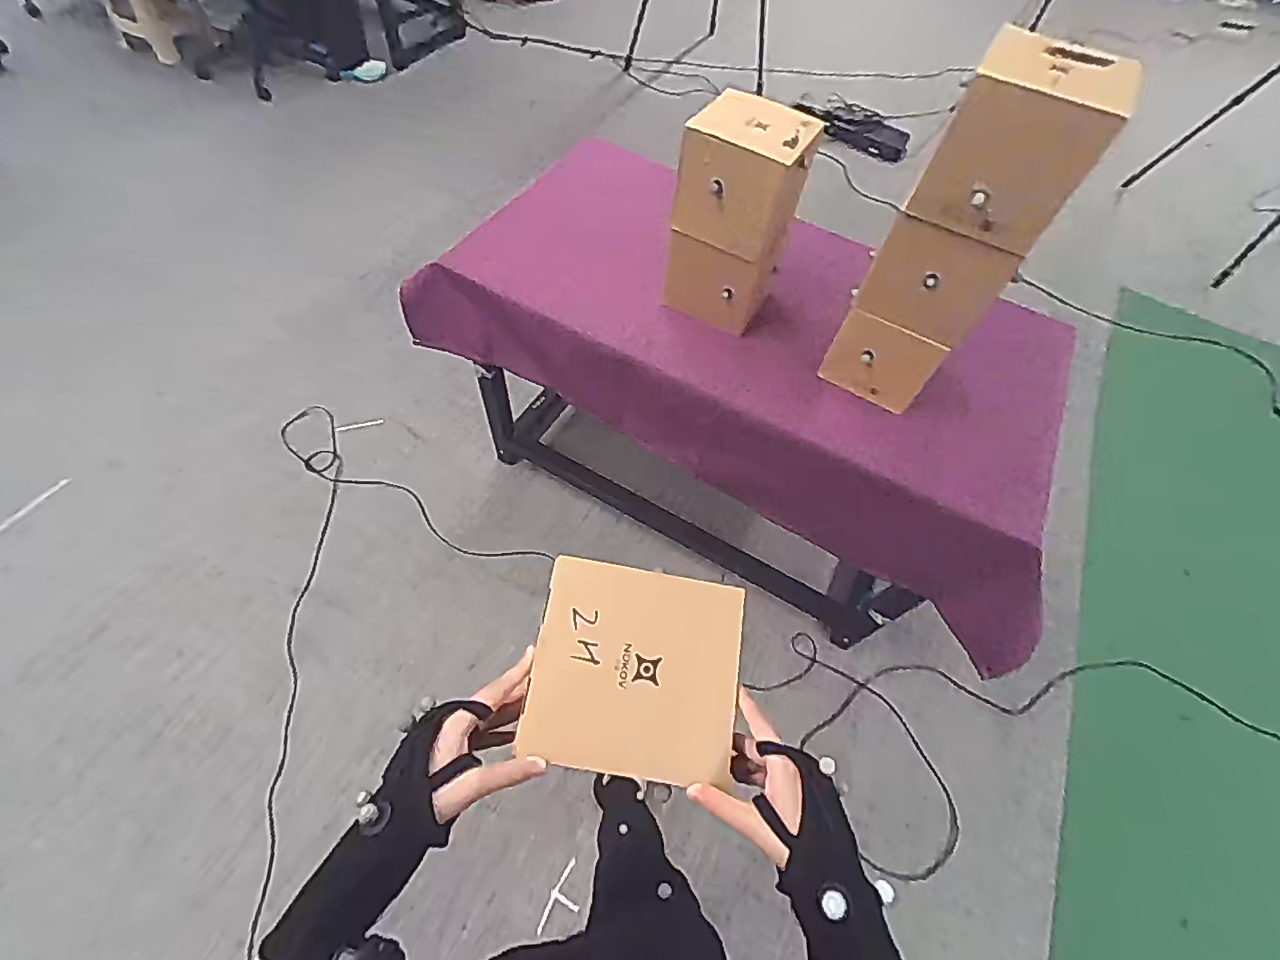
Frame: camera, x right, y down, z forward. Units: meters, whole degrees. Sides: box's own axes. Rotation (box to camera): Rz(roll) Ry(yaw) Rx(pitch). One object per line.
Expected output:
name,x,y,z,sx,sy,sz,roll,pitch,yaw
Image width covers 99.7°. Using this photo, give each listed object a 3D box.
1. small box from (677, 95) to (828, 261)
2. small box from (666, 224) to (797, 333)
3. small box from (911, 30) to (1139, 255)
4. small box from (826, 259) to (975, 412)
small box,0.178,-0.499,0.903,0.179,0.176,0.168,29,59,12
small box,0.169,-0.412,1.042,0.179,0.176,0.168,28,59,12
small box,0.480,-0.427,0.692,0.168,0.176,0.179,28,60,13
small box,0.456,-0.254,0.971,0.168,0.176,0.179,30,59,13
